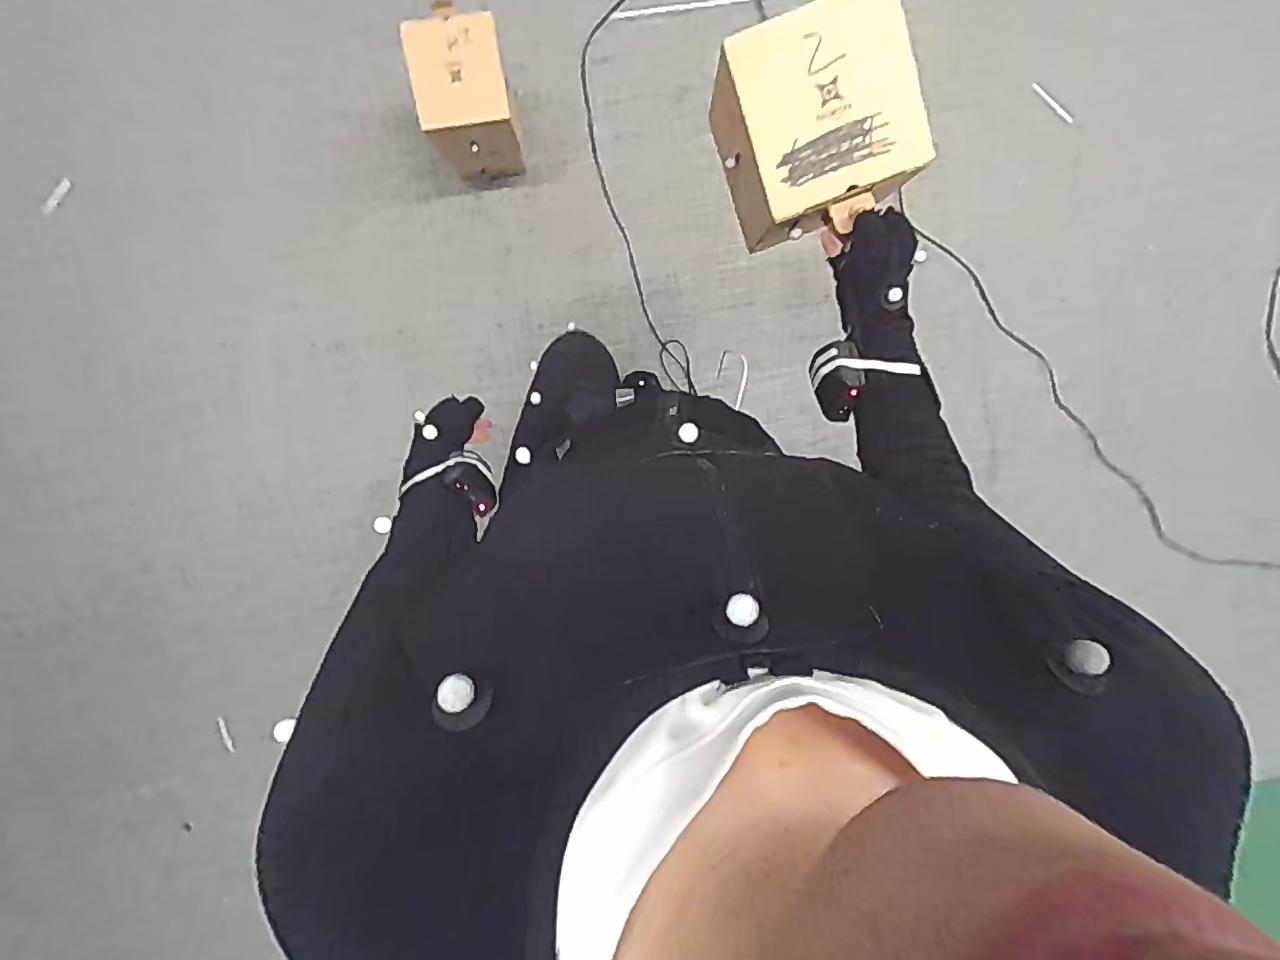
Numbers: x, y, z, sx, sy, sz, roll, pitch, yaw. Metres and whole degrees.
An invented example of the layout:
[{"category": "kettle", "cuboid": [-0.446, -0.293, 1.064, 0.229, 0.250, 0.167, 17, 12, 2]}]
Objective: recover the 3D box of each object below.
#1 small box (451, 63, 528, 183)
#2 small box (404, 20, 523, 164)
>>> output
[{"category": "small box", "cuboid": [-0.352, -0.793, 1.213, 0.168, 0.176, 0.179, -6, 102, -2]}, {"category": "small box", "cuboid": [-0.334, -0.742, 1.056, 0.168, 0.176, 0.179, -9, 102, -2]}]
